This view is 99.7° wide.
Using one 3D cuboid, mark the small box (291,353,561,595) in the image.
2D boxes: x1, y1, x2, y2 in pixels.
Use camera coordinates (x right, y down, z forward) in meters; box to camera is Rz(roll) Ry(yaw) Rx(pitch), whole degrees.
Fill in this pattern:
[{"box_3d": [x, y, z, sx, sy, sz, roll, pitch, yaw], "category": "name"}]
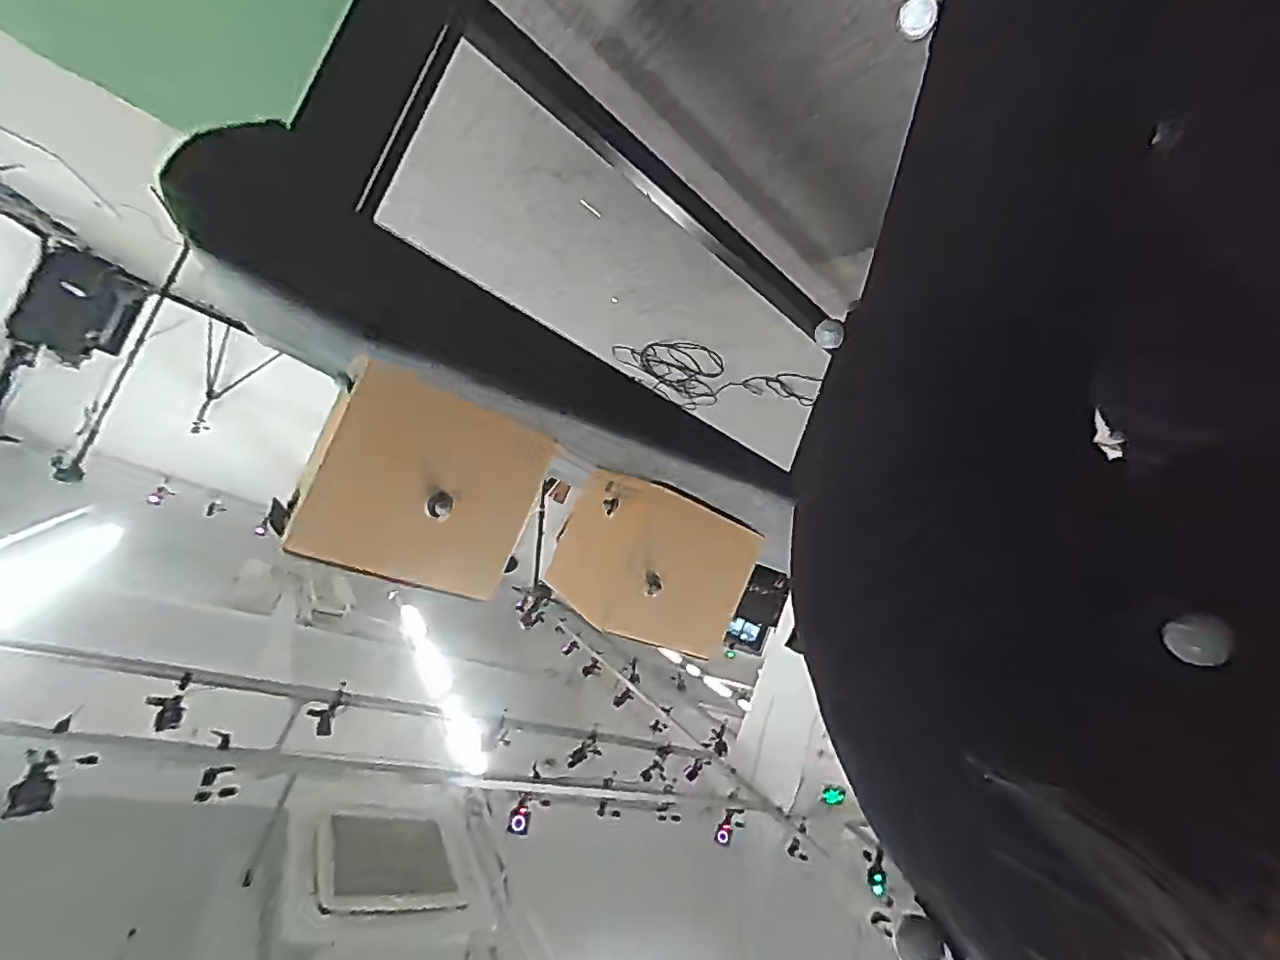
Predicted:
[{"box_3d": [-0.207, -0.012, 0.524, 0.179, 0.176, 0.168, 24, 178, -33], "category": "small box"}]
